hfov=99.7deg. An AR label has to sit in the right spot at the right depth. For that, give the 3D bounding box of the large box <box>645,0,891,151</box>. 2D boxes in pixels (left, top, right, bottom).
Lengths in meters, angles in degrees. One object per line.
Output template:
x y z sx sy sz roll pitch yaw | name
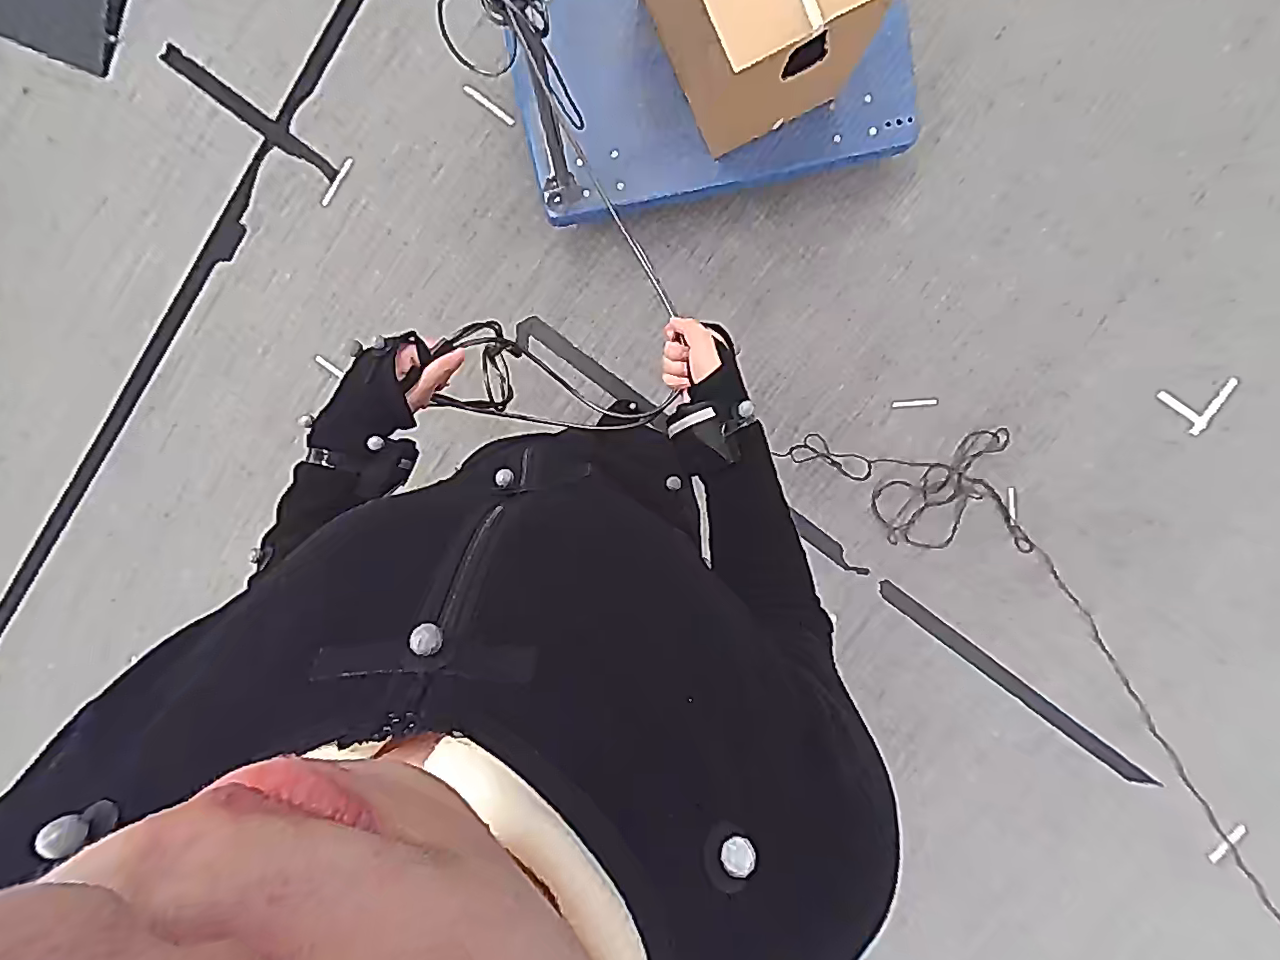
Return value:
0.214 -0.956 1.036 0.320 0.320 0.408 -26 97 5 | large box
